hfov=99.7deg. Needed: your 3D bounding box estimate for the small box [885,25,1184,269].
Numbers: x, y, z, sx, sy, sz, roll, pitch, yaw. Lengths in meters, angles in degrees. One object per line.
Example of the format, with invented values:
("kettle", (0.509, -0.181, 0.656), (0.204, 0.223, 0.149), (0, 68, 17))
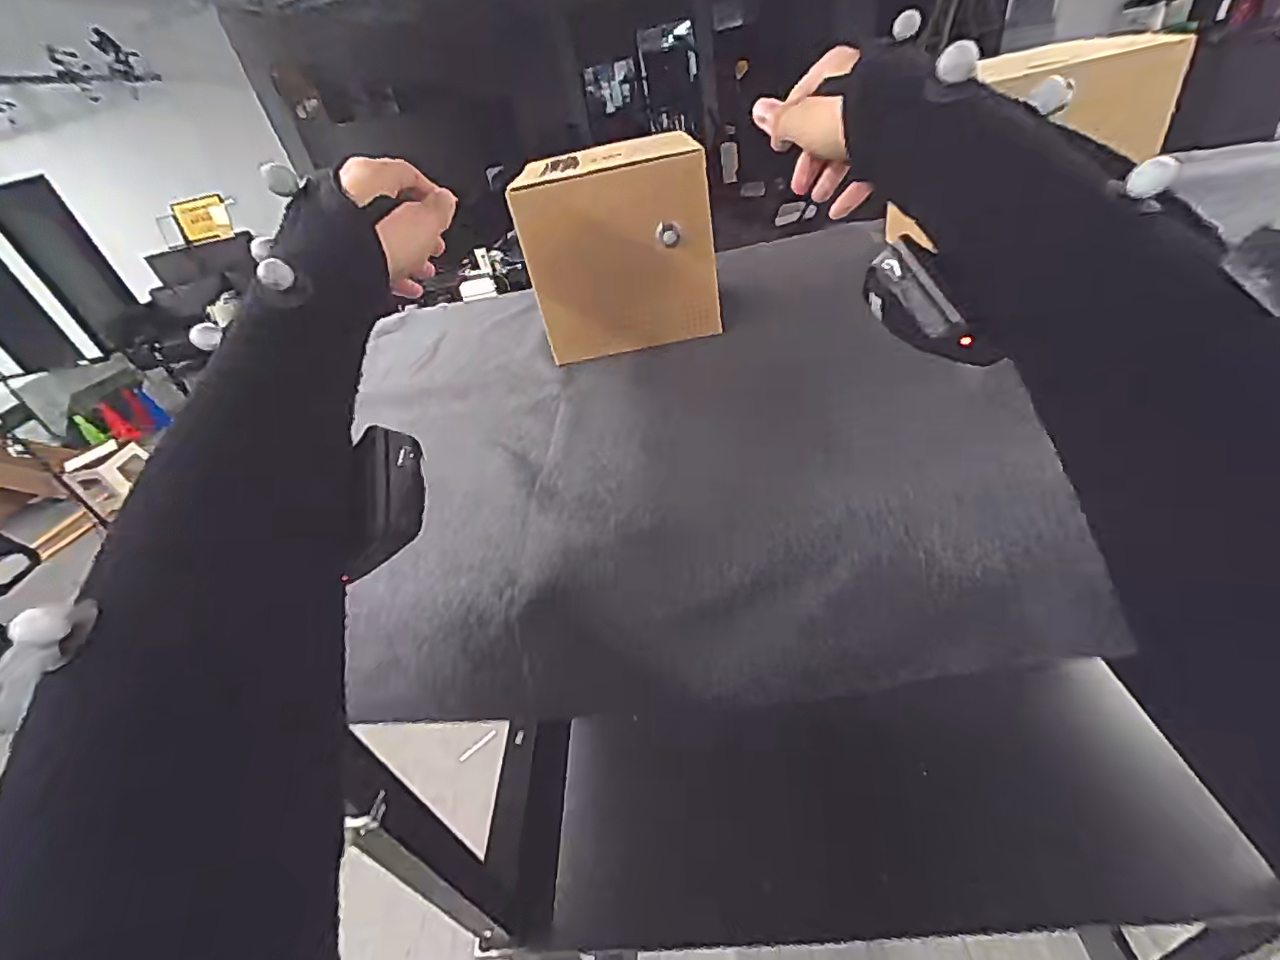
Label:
("small box", (0.365, -0.328, 0.548), (0.168, 0.176, 0.179), (-9, 36, 6))
